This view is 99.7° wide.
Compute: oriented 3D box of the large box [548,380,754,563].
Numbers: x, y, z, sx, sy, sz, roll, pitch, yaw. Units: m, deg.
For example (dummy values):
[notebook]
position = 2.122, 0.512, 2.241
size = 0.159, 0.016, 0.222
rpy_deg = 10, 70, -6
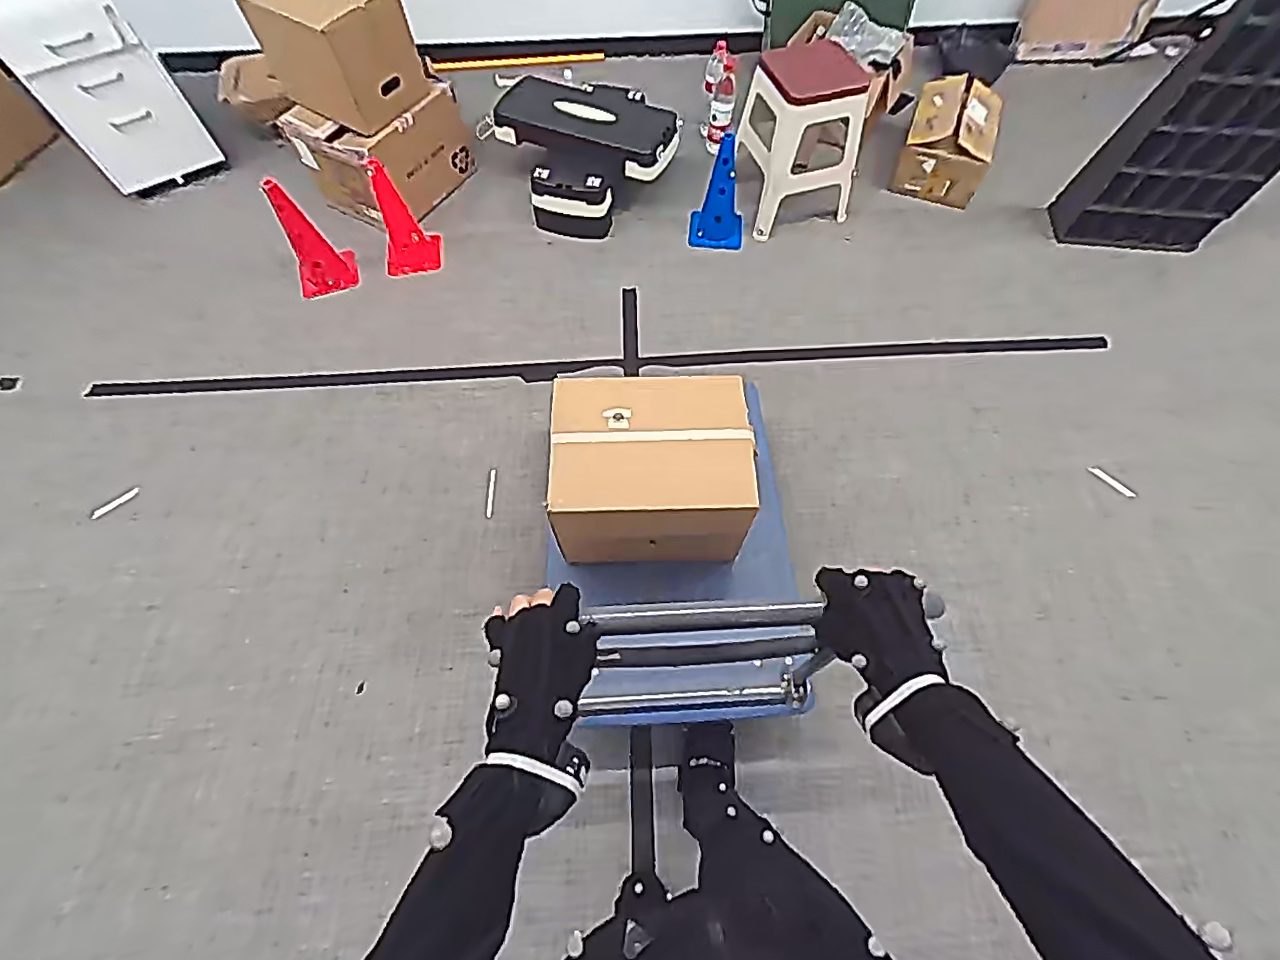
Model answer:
[large box]
position = 0.020, -0.006, 1.236
size = 0.408, 0.320, 0.320
rpy_deg = -2, 63, 0
